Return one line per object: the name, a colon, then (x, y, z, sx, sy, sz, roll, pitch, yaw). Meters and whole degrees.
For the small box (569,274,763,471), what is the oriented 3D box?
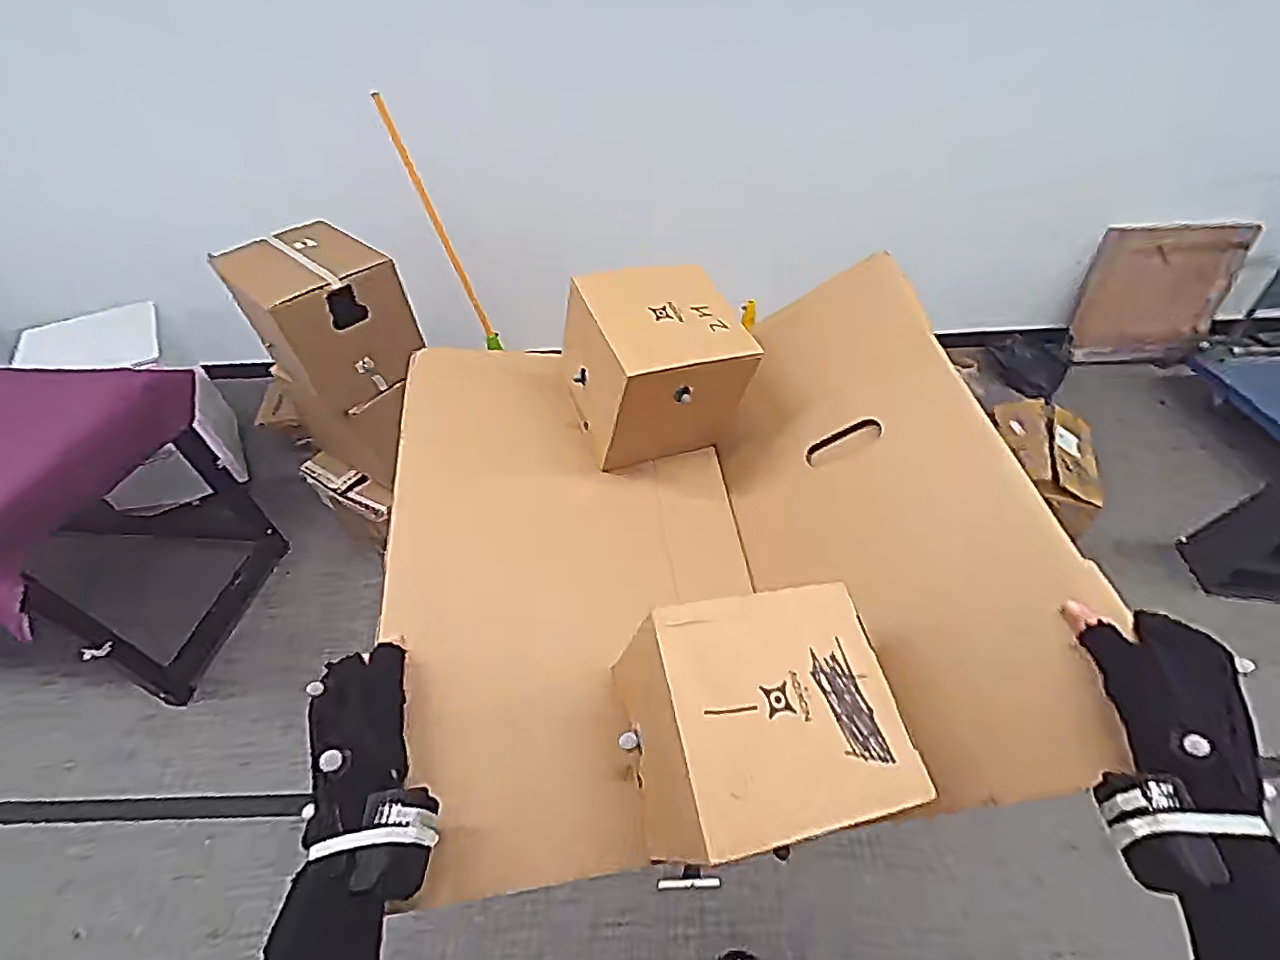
small box: (0.017, -0.132, 0.679, 0.179, 0.176, 0.168, -14, 61, -23)
